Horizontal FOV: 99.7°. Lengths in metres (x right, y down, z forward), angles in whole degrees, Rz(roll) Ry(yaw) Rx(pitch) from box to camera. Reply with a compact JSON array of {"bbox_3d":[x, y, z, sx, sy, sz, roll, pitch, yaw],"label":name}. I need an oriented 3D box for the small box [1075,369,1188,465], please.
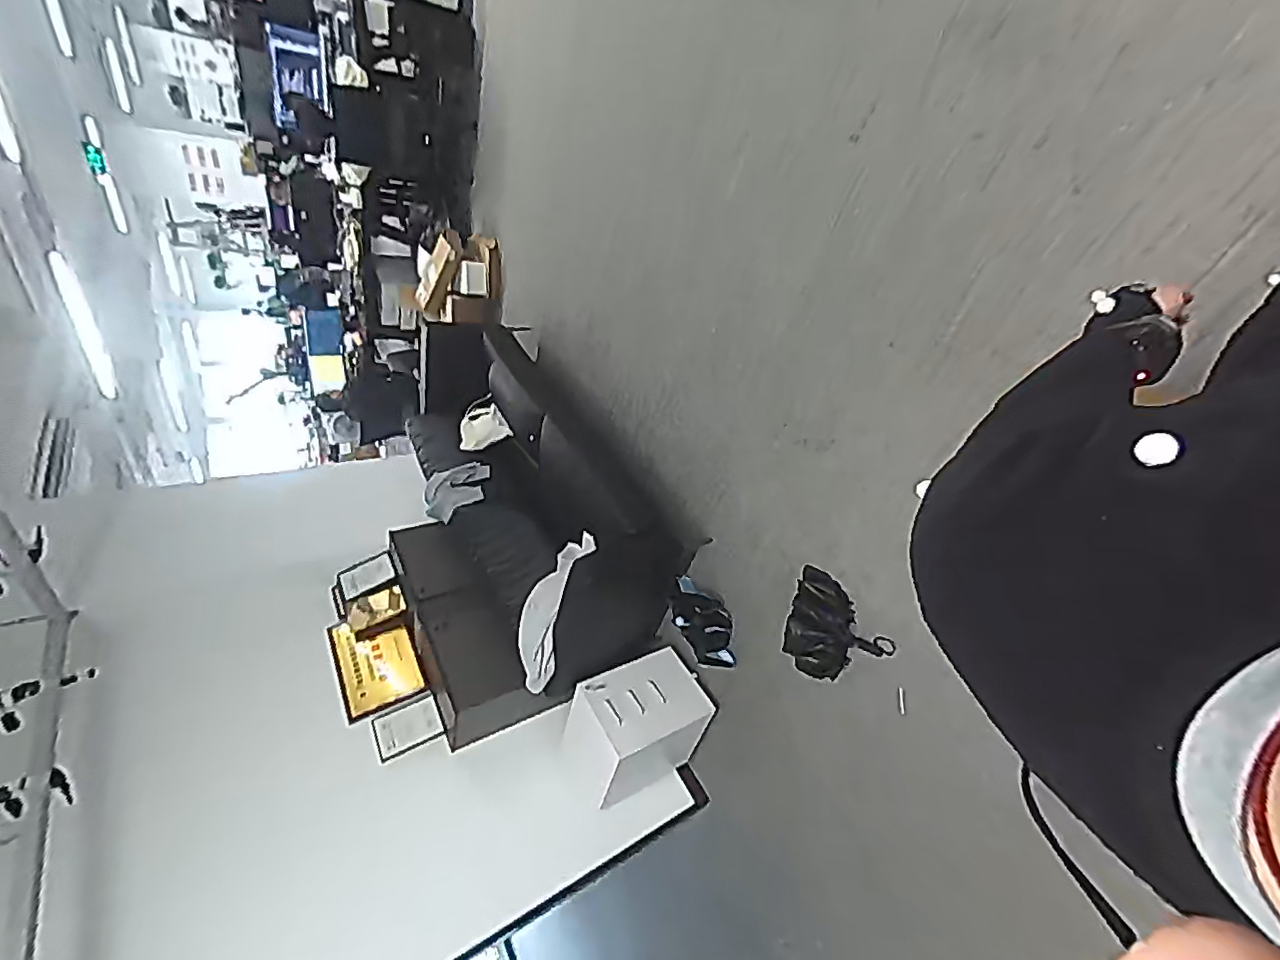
[{"bbox_3d":[1.037,-0.136,1.193,0.179,0.176,0.168,46,137,37],"label":"small box"}]
